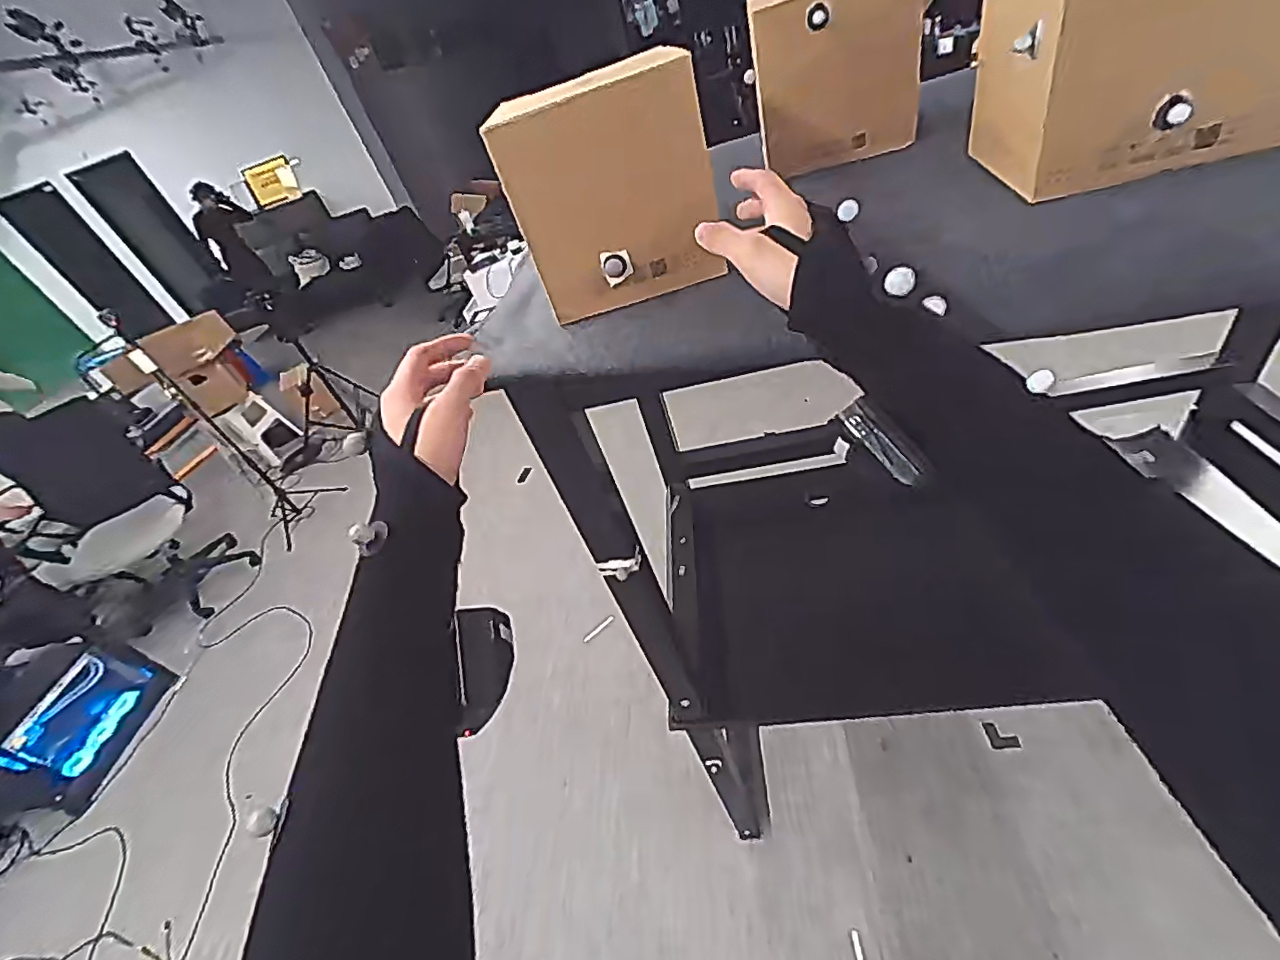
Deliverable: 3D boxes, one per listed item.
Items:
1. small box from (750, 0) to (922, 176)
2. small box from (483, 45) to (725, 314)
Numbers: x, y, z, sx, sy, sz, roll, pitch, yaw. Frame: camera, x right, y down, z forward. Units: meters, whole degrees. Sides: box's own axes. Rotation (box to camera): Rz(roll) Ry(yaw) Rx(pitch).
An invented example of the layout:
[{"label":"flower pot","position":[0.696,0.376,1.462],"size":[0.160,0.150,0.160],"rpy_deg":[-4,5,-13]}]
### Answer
[{"label":"small box","position":[0.225,-0.489,0.648],"size":[0.168,0.176,0.179],"rpy_deg":[-8,41,16]},{"label":"small box","position":[-0.027,-0.282,0.514],"size":[0.168,0.176,0.179],"rpy_deg":[-16,39,6]}]
